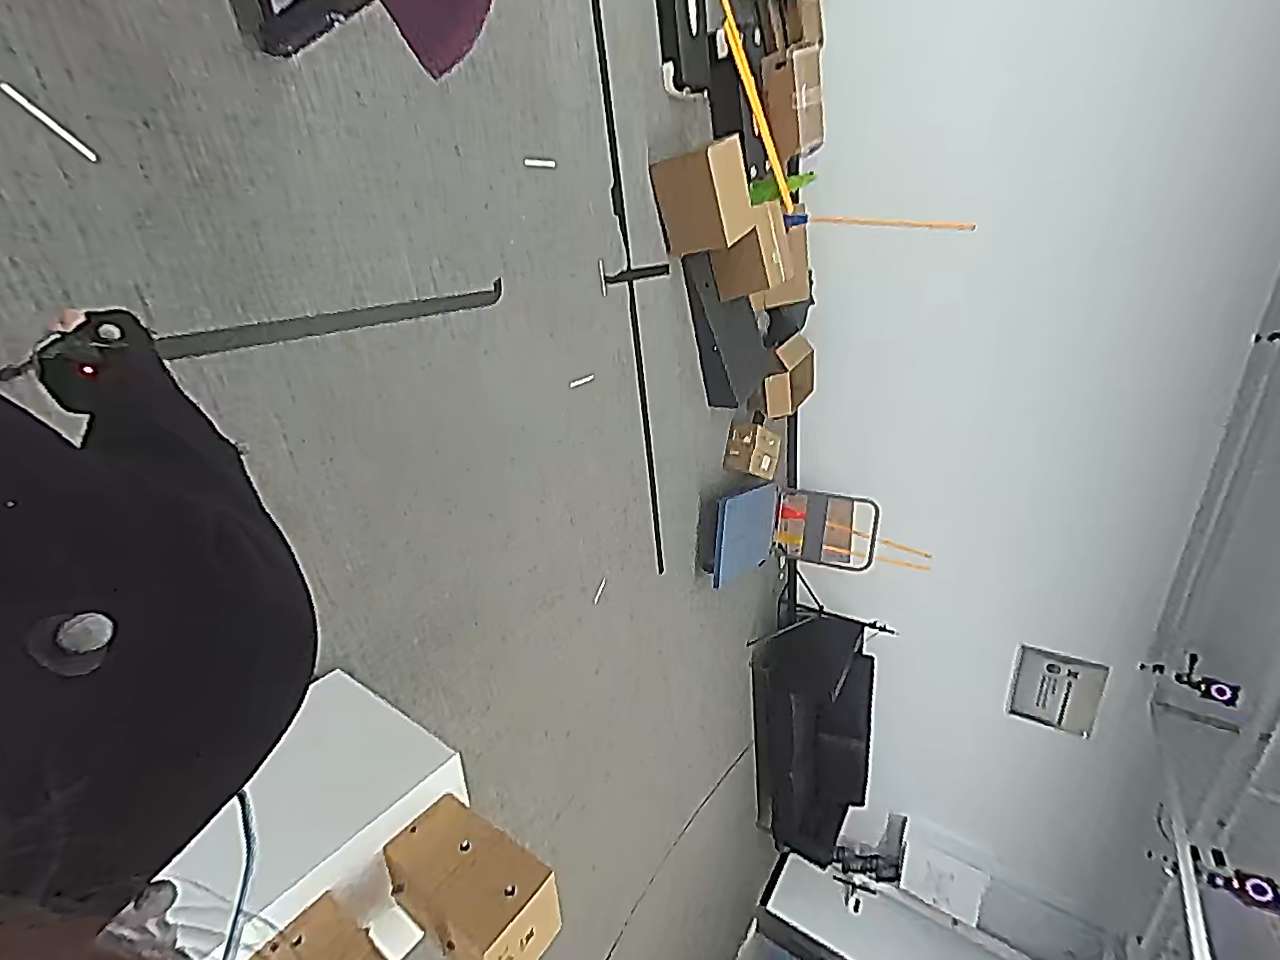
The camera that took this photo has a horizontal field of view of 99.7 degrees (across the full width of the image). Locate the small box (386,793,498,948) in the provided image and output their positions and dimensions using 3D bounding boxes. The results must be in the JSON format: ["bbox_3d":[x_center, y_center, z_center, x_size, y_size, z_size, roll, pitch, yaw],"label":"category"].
[{"bbox_3d":[-0.415,0.822,1.158,0.168,0.176,0.179,-26,121,-50],"label":"small box"}]

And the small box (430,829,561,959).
[{"bbox_3d":[-0.280,0.844,1.064,0.179,0.176,0.168,-26,119,-50],"label":"small box"}]
